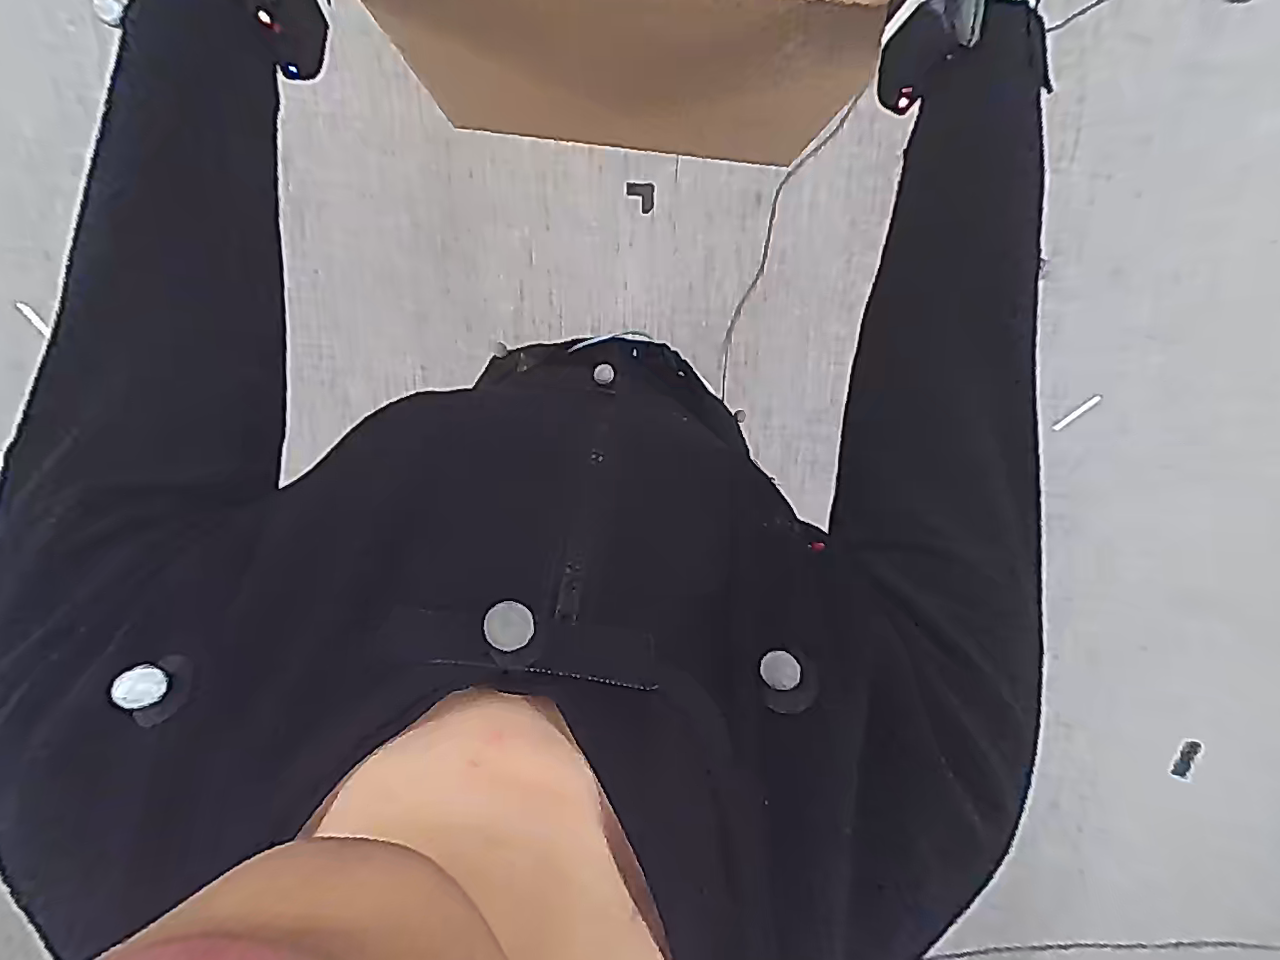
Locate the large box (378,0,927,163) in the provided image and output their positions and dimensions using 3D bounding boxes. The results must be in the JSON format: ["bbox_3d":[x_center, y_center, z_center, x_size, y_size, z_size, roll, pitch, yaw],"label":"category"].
[{"bbox_3d":[0.003,-0.511,0.470,0.408,0.320,0.320,4,104,-4],"label":"large box"}]
